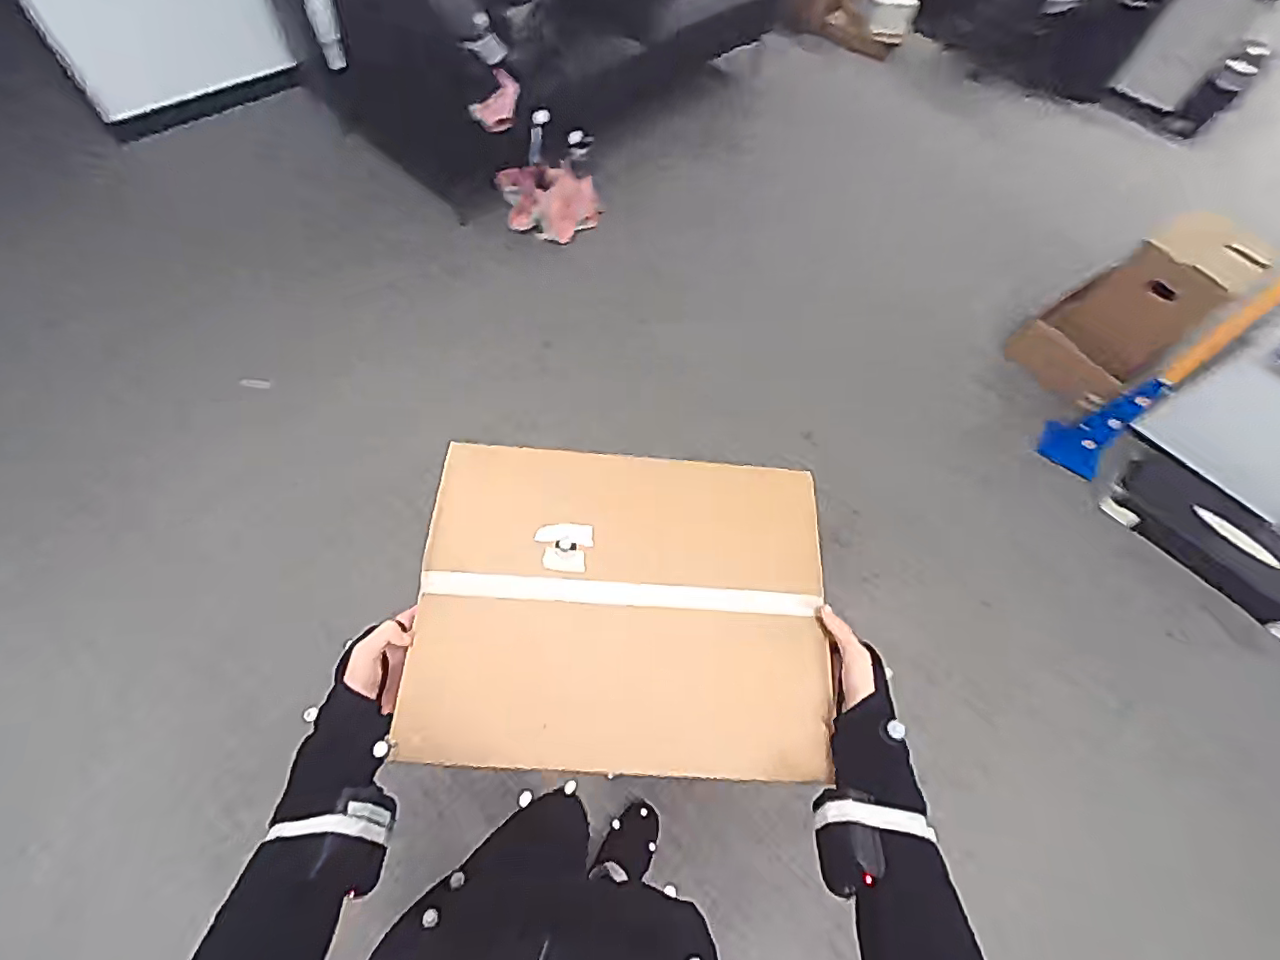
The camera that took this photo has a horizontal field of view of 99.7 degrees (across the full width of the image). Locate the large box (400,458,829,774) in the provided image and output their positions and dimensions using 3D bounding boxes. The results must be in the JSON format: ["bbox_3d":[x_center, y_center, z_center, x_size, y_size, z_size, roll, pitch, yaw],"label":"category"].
[{"bbox_3d":[-0.024,0.182,0.691,0.408,0.320,0.320,3,65,-3],"label":"large box"}]
